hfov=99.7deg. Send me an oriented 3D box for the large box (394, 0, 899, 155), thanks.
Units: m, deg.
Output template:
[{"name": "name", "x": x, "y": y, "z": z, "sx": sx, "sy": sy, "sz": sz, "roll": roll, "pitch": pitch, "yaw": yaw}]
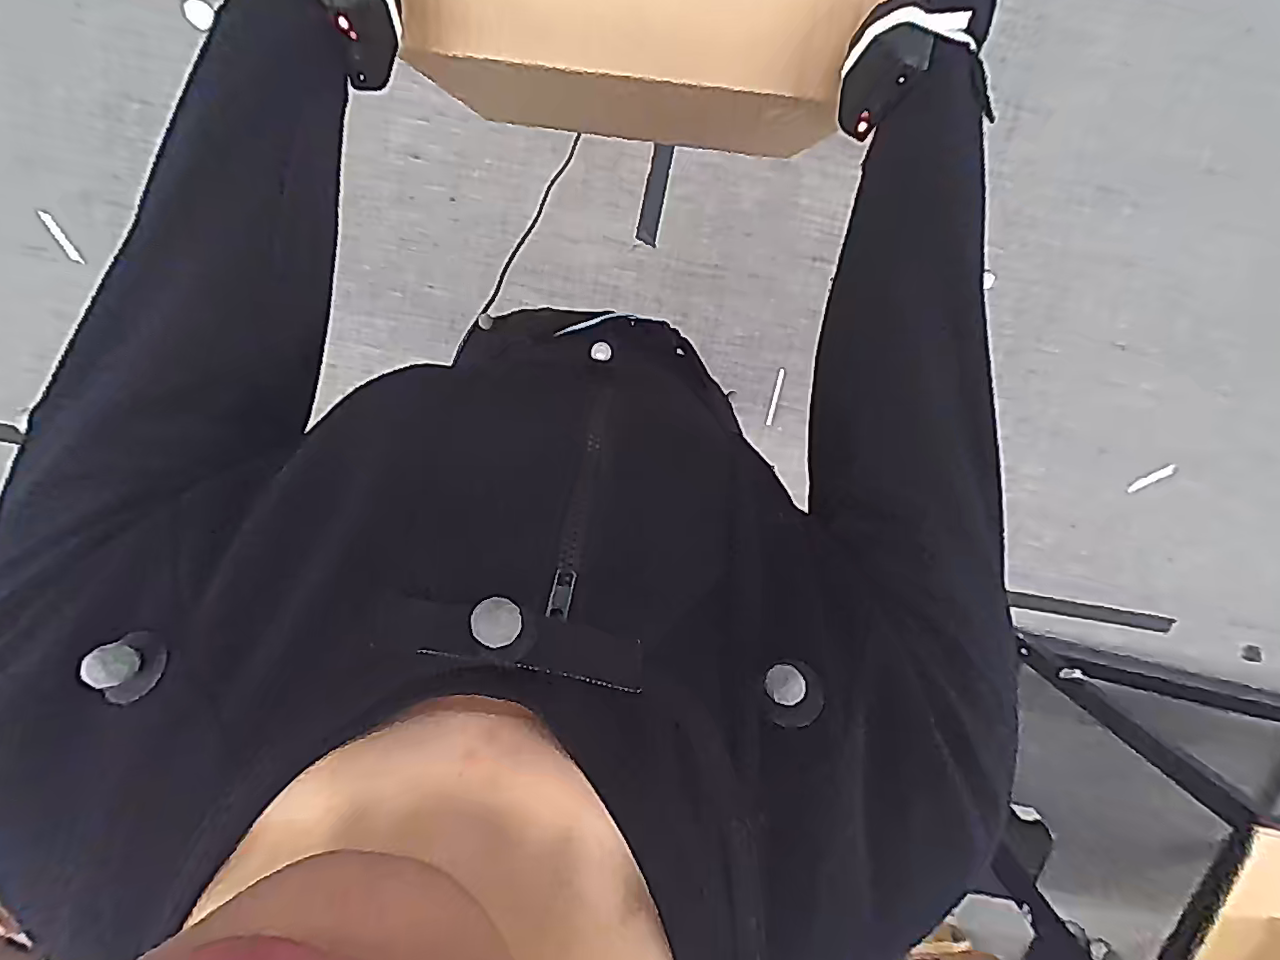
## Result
[{"name": "large box", "x": 0.011, "y": -0.526, "z": 0.518, "sx": 0.408, "sy": 0.320, "sz": 0.320, "roll": 5, "pitch": 115, "yaw": -3}]
